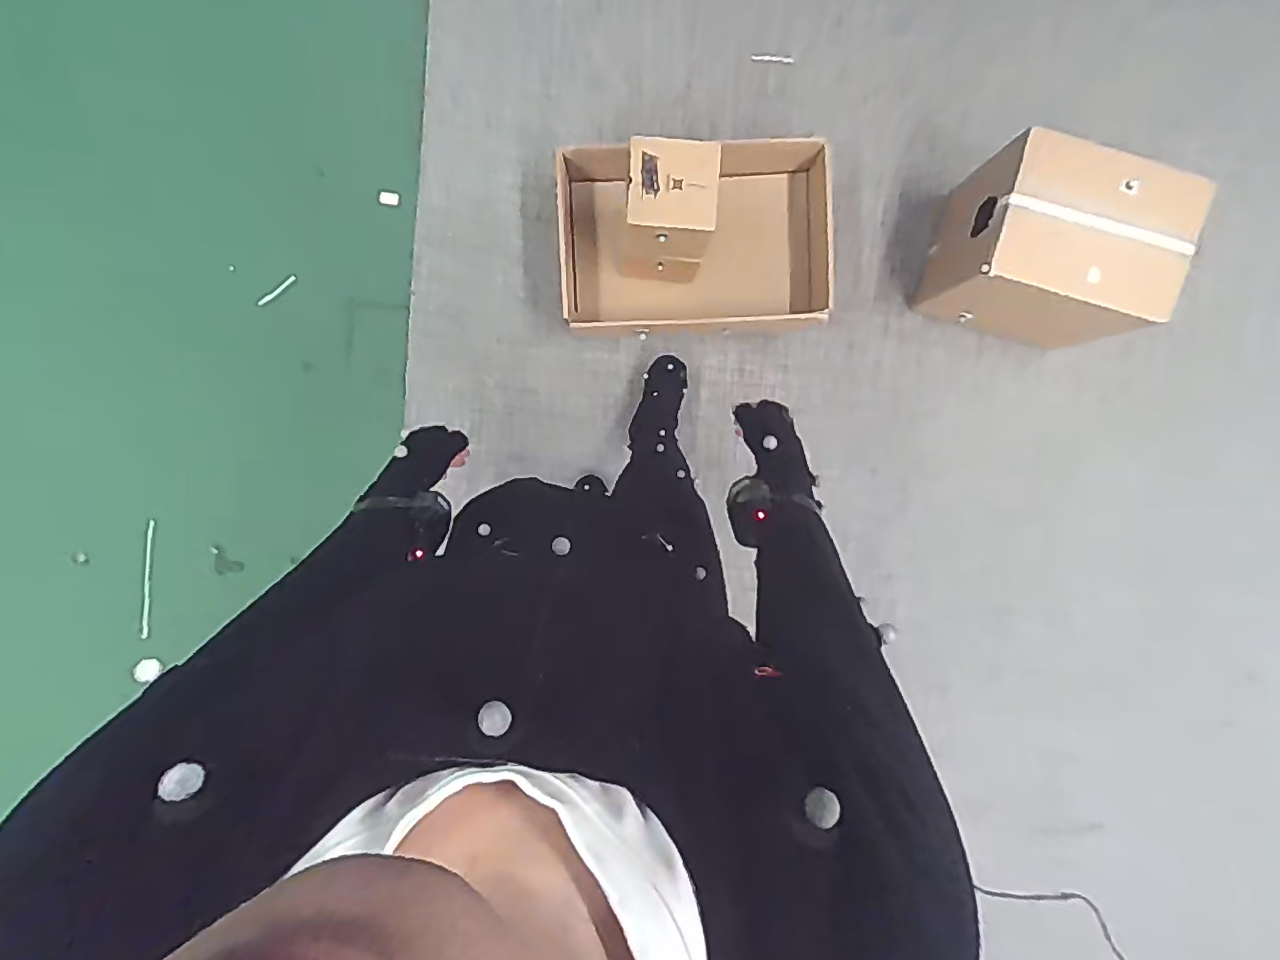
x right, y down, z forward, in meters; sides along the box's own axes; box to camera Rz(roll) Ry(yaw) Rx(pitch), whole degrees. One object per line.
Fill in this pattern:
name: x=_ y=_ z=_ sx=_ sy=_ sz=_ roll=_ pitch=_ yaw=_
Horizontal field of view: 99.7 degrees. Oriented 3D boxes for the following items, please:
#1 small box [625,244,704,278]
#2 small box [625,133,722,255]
small box: x=0.058 y=-0.589 z=1.280 sx=0.179 sy=0.176 sz=0.168 roll=4 pitch=94 yaw=-4
small box: x=0.061 y=-0.579 z=1.115 sx=0.179 sy=0.176 sz=0.168 roll=4 pitch=94 yaw=-3
